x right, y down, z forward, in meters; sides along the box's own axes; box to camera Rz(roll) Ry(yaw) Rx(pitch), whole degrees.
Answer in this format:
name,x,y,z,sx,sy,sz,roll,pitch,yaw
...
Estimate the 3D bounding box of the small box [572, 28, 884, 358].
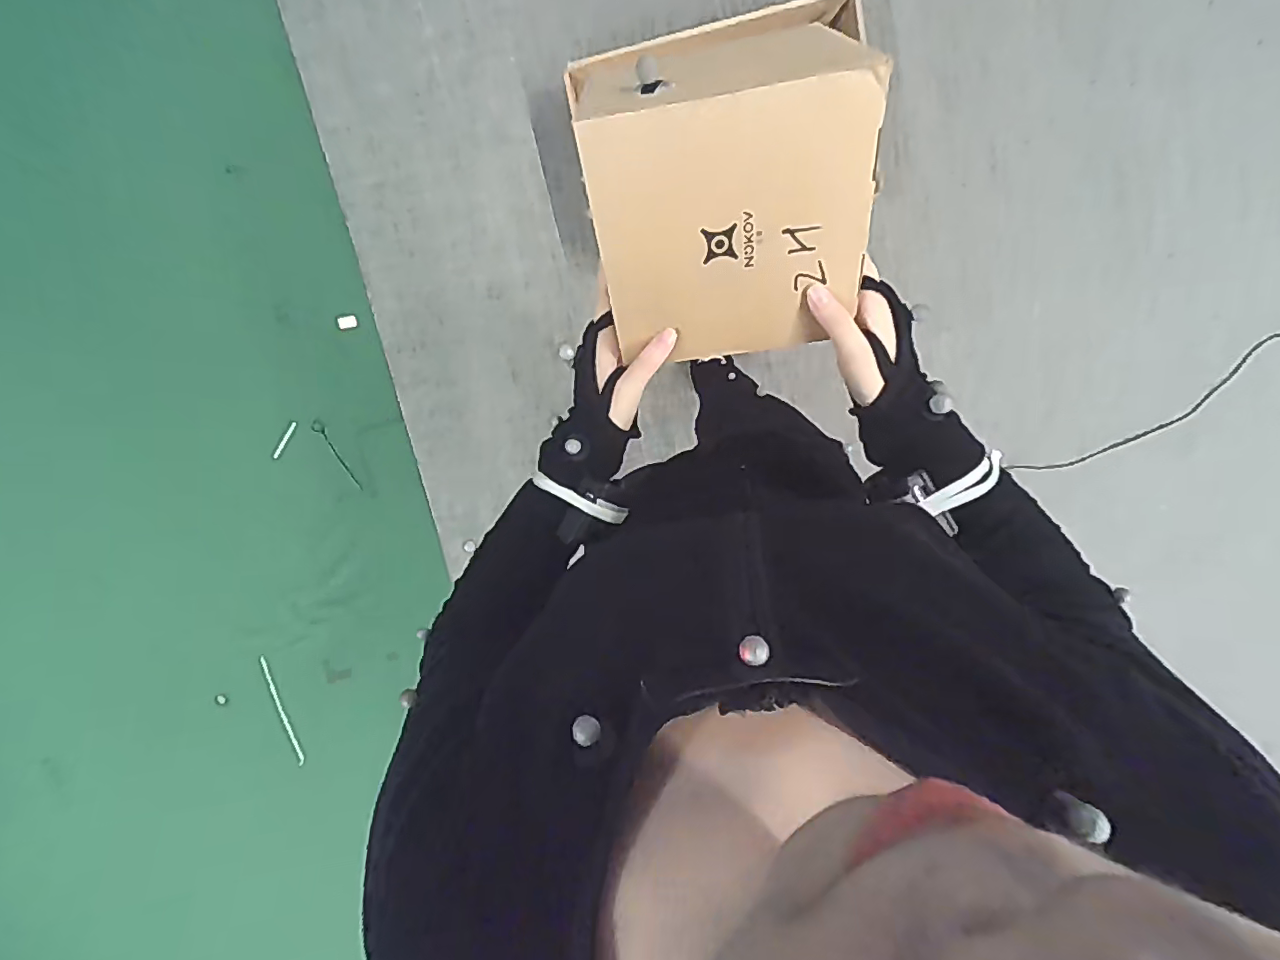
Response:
name,x,y,z,sx,sy,sz,roll,pitch,yaw
small box,0.058,-0.217,0.410,0.179,0.176,0.168,-7,136,6
